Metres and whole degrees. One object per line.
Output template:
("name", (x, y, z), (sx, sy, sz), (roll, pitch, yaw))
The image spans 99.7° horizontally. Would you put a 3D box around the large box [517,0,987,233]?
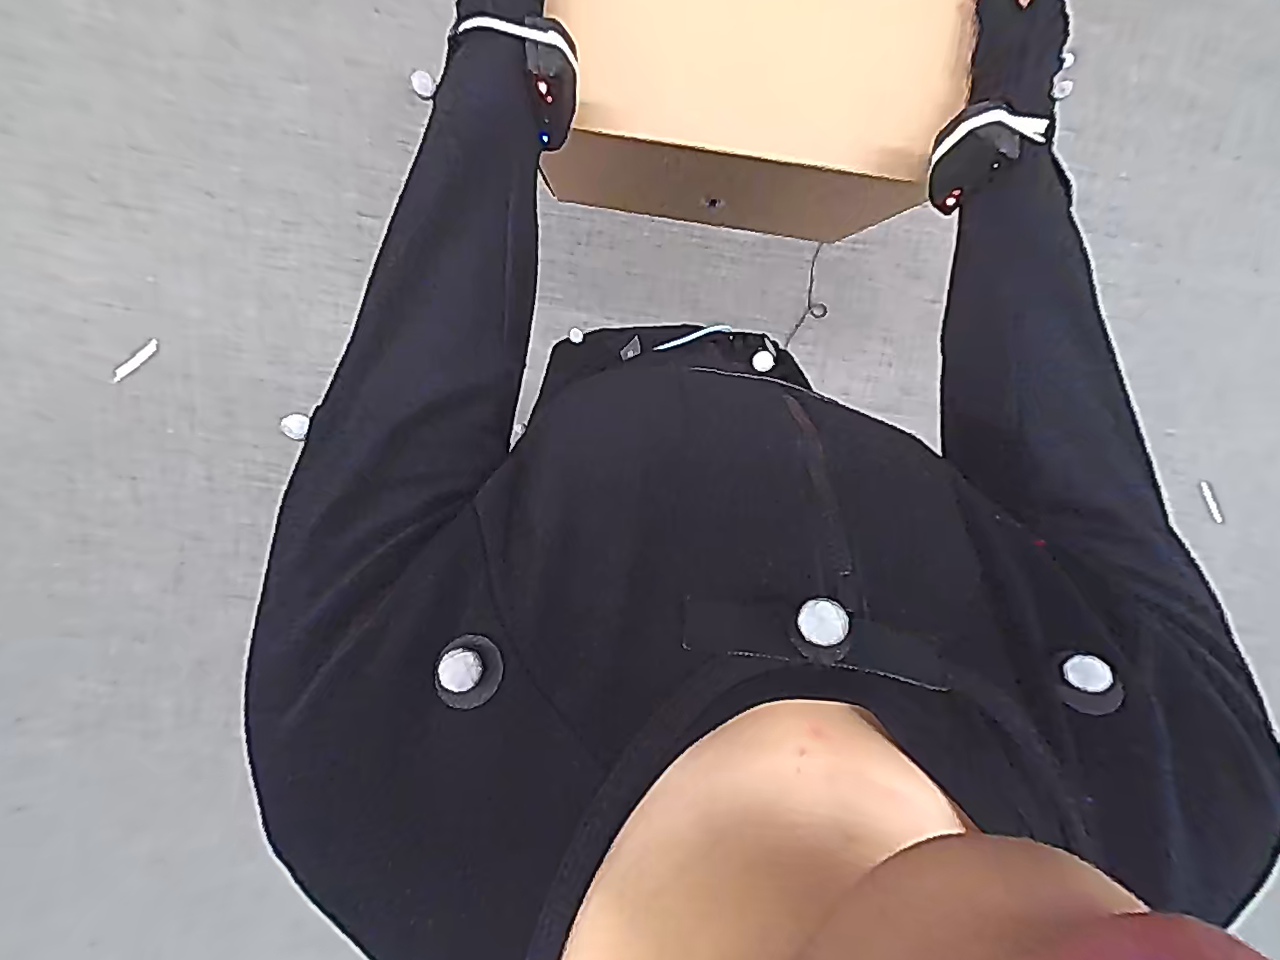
("large box", (0.103, -0.482, 0.595), (0.408, 0.320, 0.320), (7, 104, -3))
